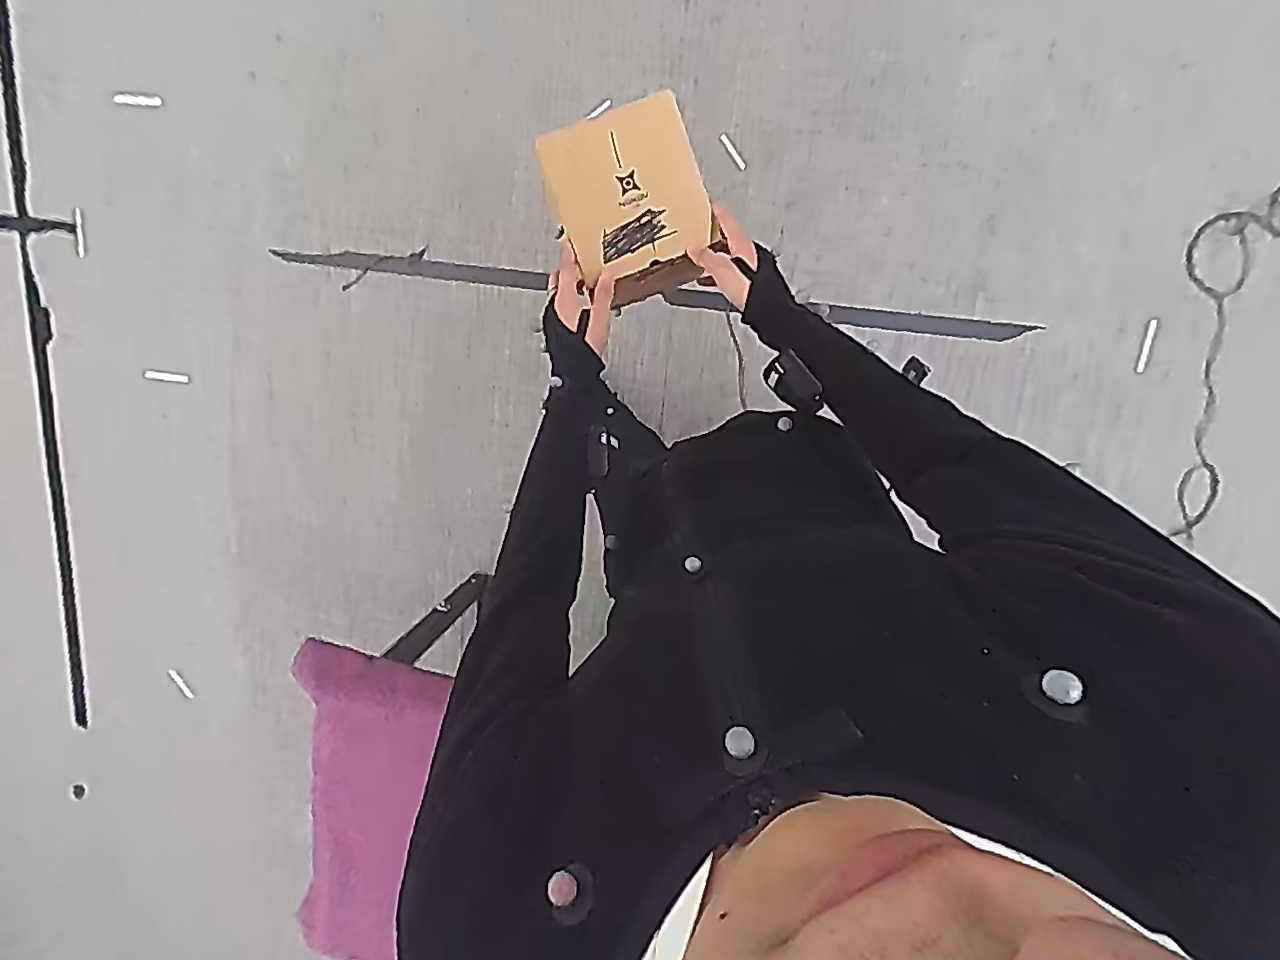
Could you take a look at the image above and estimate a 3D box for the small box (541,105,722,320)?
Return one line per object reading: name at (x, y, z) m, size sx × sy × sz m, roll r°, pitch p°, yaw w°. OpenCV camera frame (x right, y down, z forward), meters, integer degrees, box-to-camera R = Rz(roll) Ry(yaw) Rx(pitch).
small box at (-0.006, -0.319, 0.692) m, size 0.168 × 0.176 × 0.179 m, roll -19°, pitch 93°, yaw 2°
